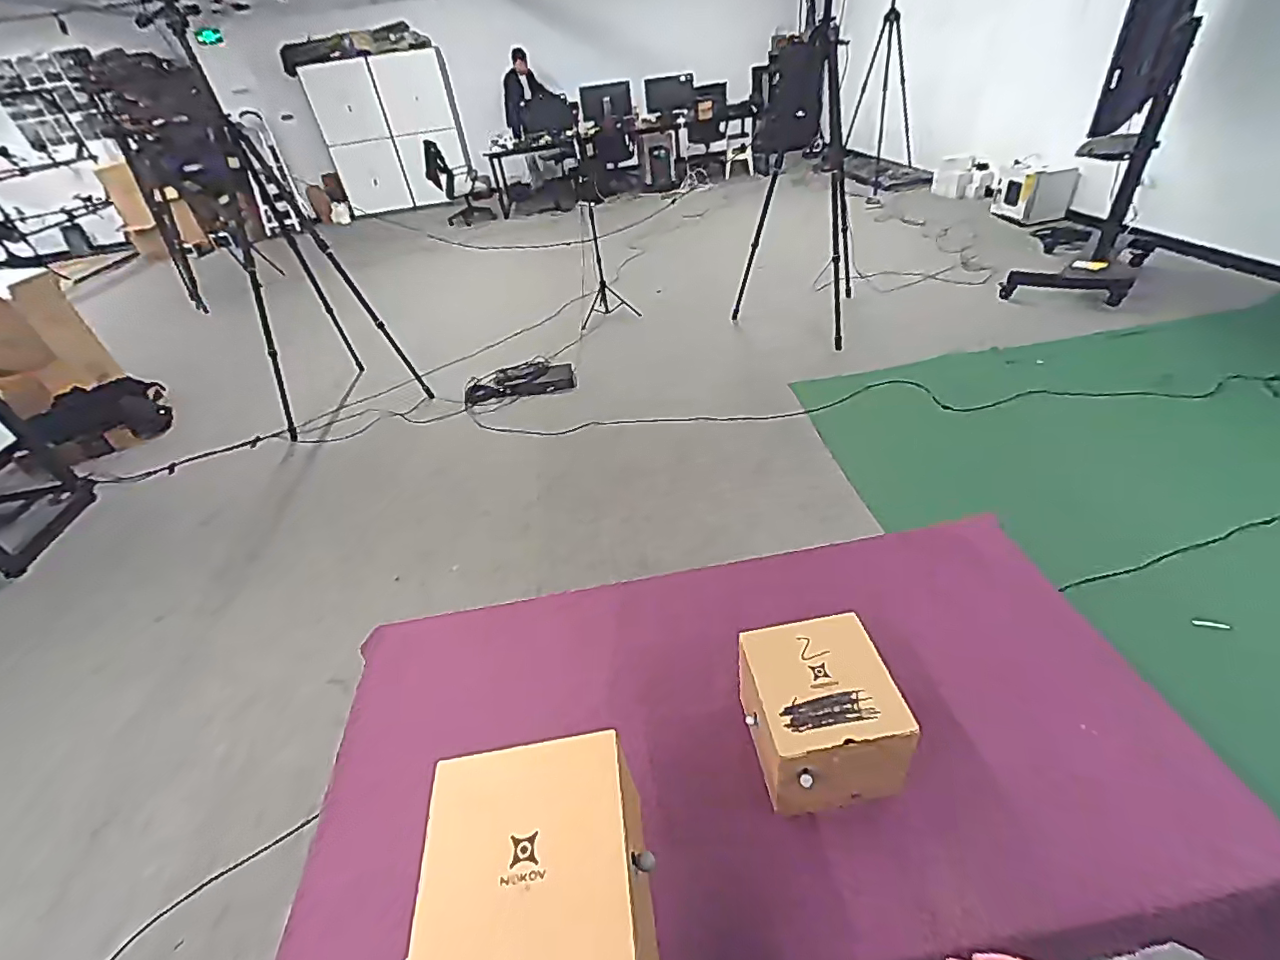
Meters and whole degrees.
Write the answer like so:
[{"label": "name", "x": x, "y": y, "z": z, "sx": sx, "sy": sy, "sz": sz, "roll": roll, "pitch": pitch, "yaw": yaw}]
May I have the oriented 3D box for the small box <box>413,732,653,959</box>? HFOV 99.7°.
[{"label": "small box", "x": -0.084, "y": 0.364, "z": 0.493, "sx": 0.168, "sy": 0.176, "sz": 0.179, "roll": -10, "pitch": 42, "yaw": -1}]
